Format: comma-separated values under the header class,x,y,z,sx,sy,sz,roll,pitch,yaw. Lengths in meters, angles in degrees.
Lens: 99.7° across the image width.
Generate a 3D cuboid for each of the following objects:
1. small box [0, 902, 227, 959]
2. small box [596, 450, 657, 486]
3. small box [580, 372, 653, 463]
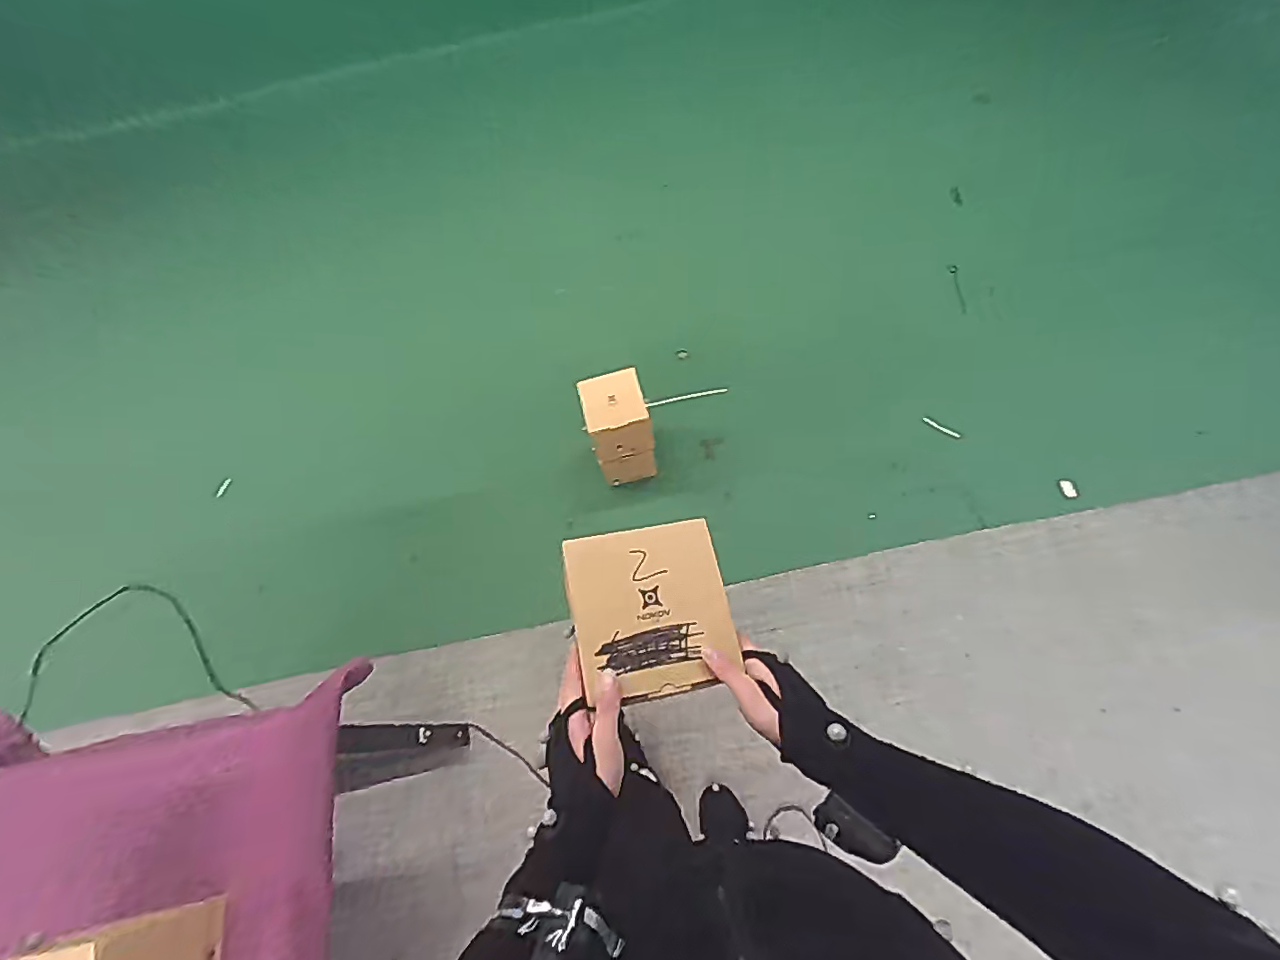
class,x,y,z,sx,sy,sz,roll,pitch,yaw
small box,-0.626,0.614,0.613,0.179,0.176,0.168,-13,65,2
small box,-0.048,-0.097,1.684,0.168,0.176,0.179,-14,64,0
small box,-0.064,-0.173,1.541,0.168,0.176,0.179,-15,65,-1
